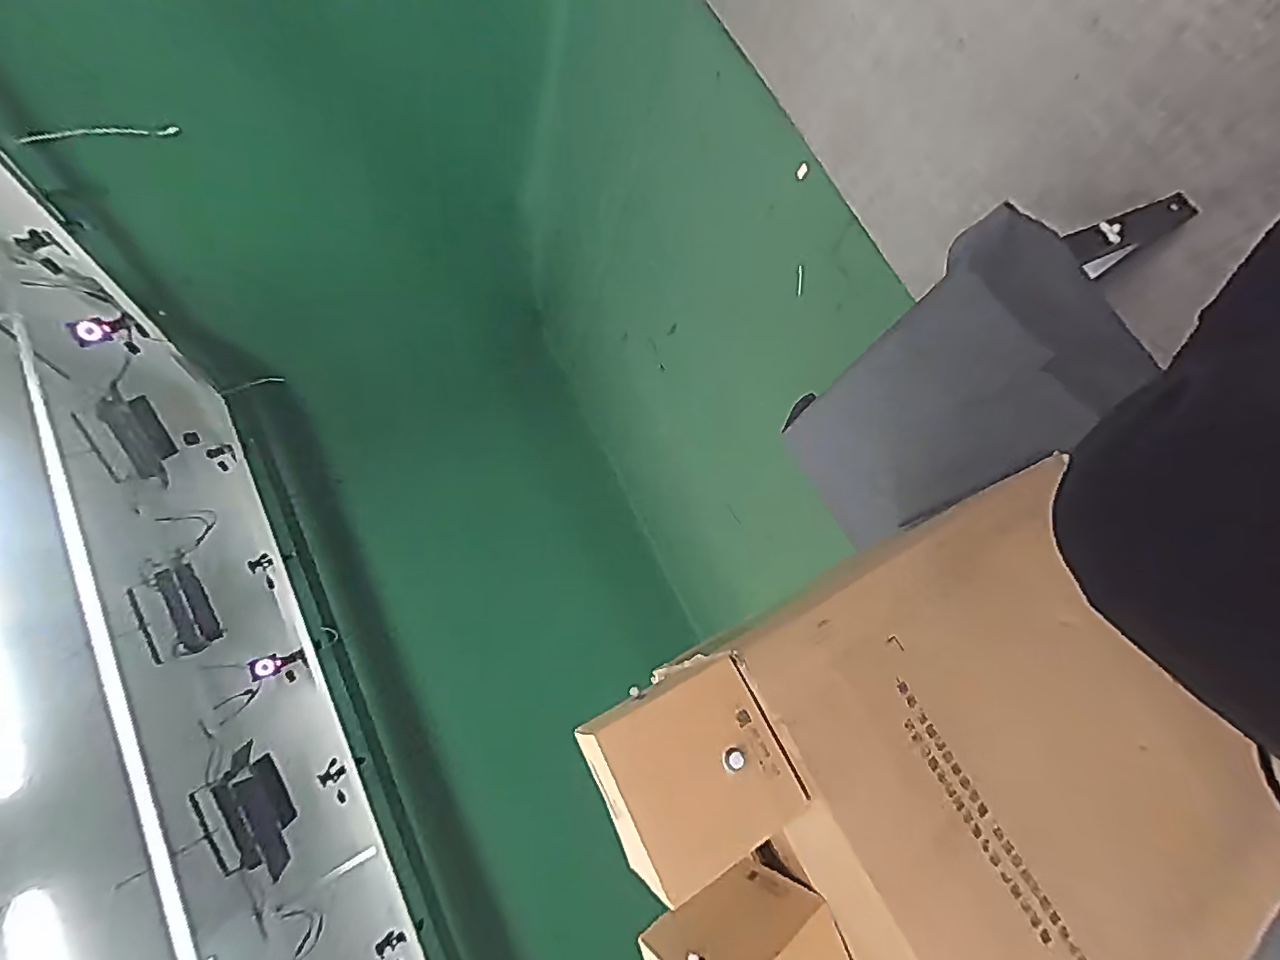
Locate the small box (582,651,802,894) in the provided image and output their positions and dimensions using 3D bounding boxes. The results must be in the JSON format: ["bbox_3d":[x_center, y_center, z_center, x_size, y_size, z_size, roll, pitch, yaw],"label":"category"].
[{"bbox_3d":[0.051,0.314,0.617,0.168,0.176,0.179,62,158,15],"label":"small box"}]

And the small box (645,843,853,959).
[{"bbox_3d":[0.140,0.577,0.626,0.168,0.176,0.179,-27,85,58],"label":"small box"}]
